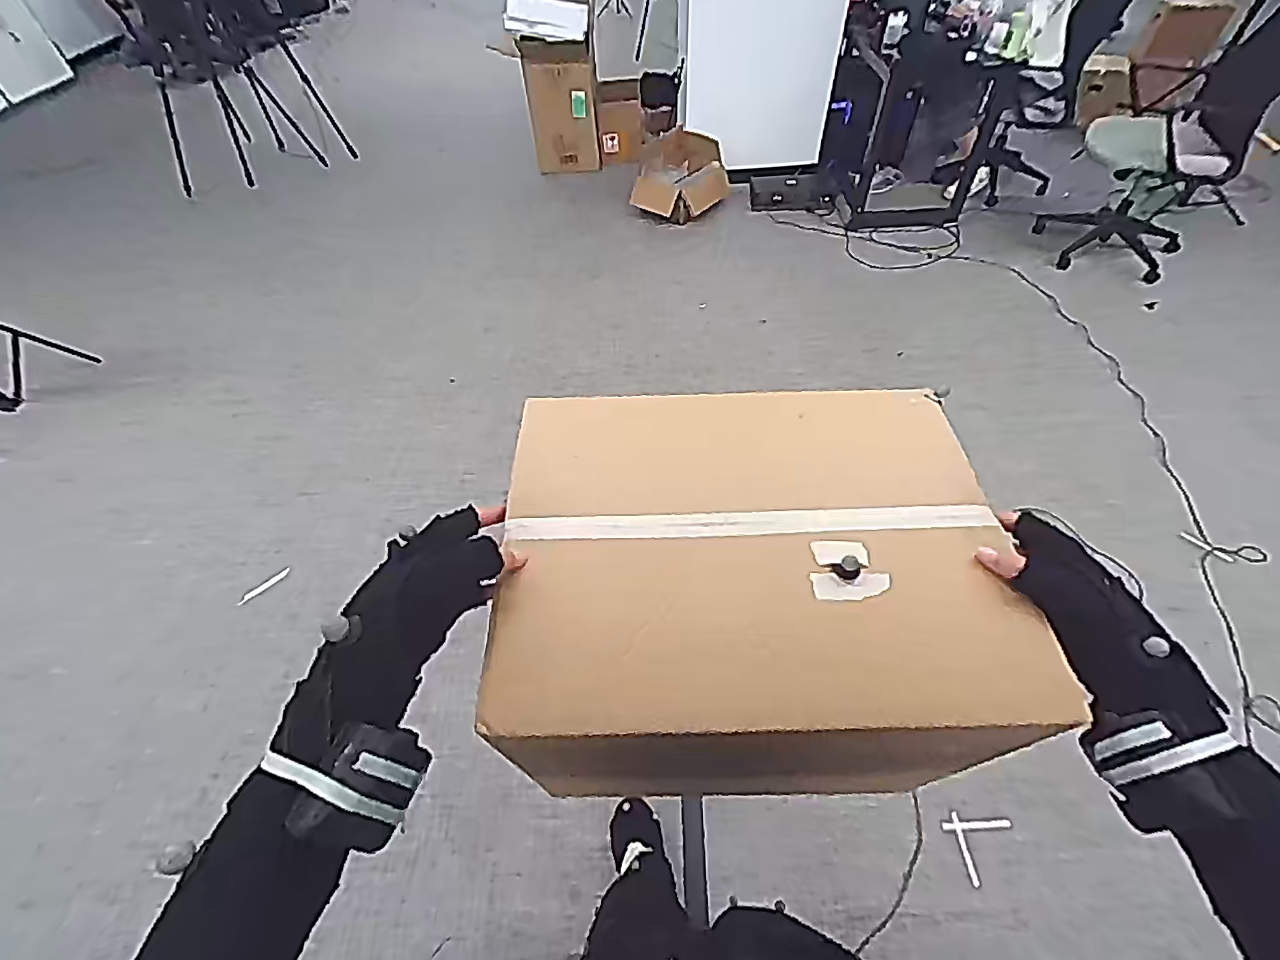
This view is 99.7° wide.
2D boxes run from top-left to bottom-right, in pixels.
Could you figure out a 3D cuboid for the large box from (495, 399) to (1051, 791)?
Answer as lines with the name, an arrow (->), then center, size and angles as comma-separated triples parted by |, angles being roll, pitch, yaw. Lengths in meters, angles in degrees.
large box -> 0.091, 0.134, 0.586 | 0.408, 0.320, 0.320 | -1, 53, 0
